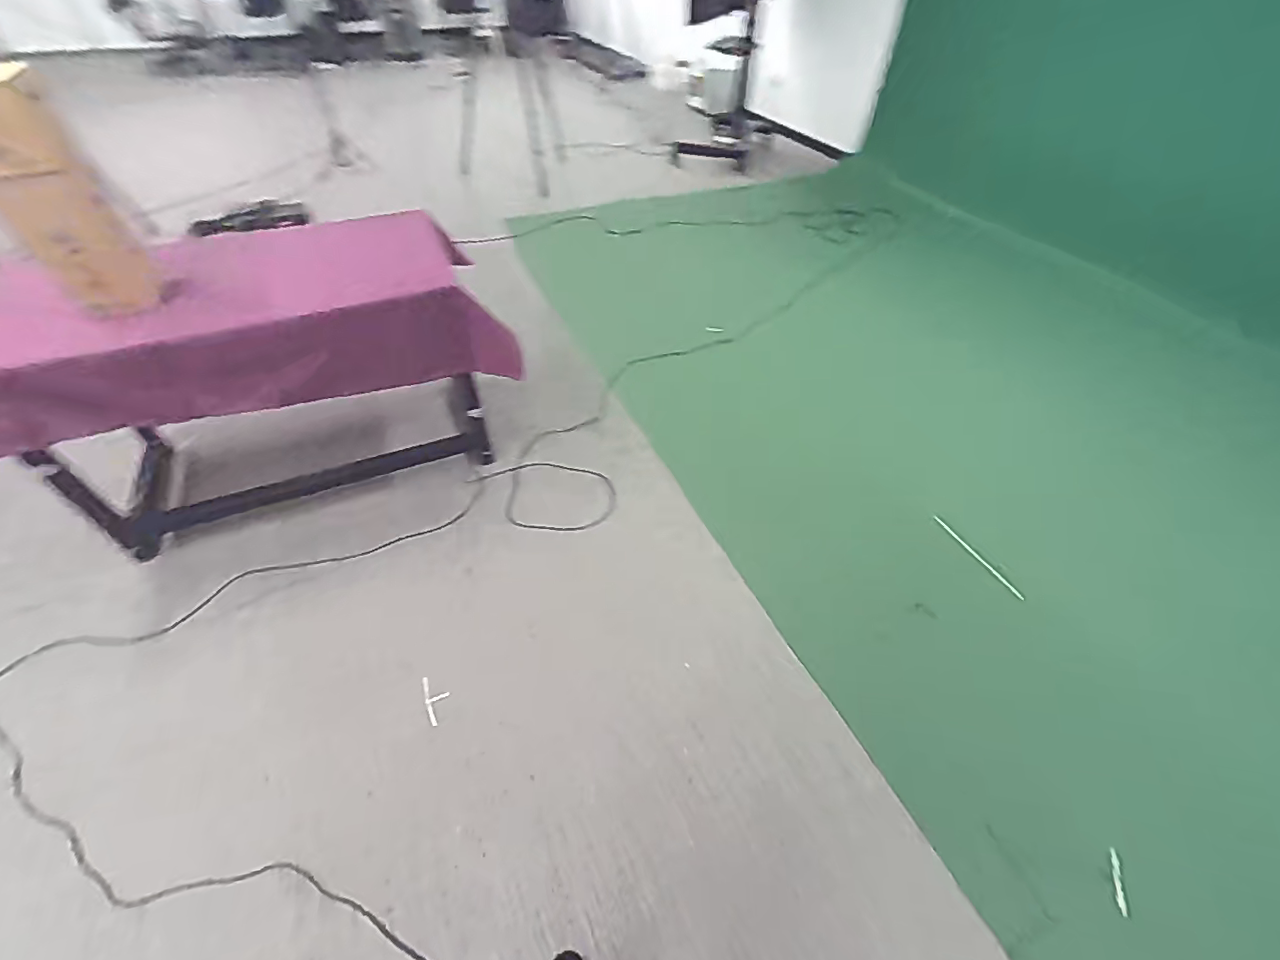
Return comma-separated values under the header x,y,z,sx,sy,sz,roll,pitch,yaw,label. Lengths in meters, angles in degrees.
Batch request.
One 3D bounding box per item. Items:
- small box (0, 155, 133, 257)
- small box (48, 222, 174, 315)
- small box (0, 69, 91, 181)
x,y,z,sx,sy,sz,roll,pitch,yaw,label
-1.377,-0.657,1.293,0.179,0.176,0.168,-16,49,-17,small box
-1.371,-0.548,1.418,0.168,0.176,0.179,-17,49,-17,small box
-1.366,-0.775,1.181,0.168,0.176,0.179,-17,50,-17,small box
